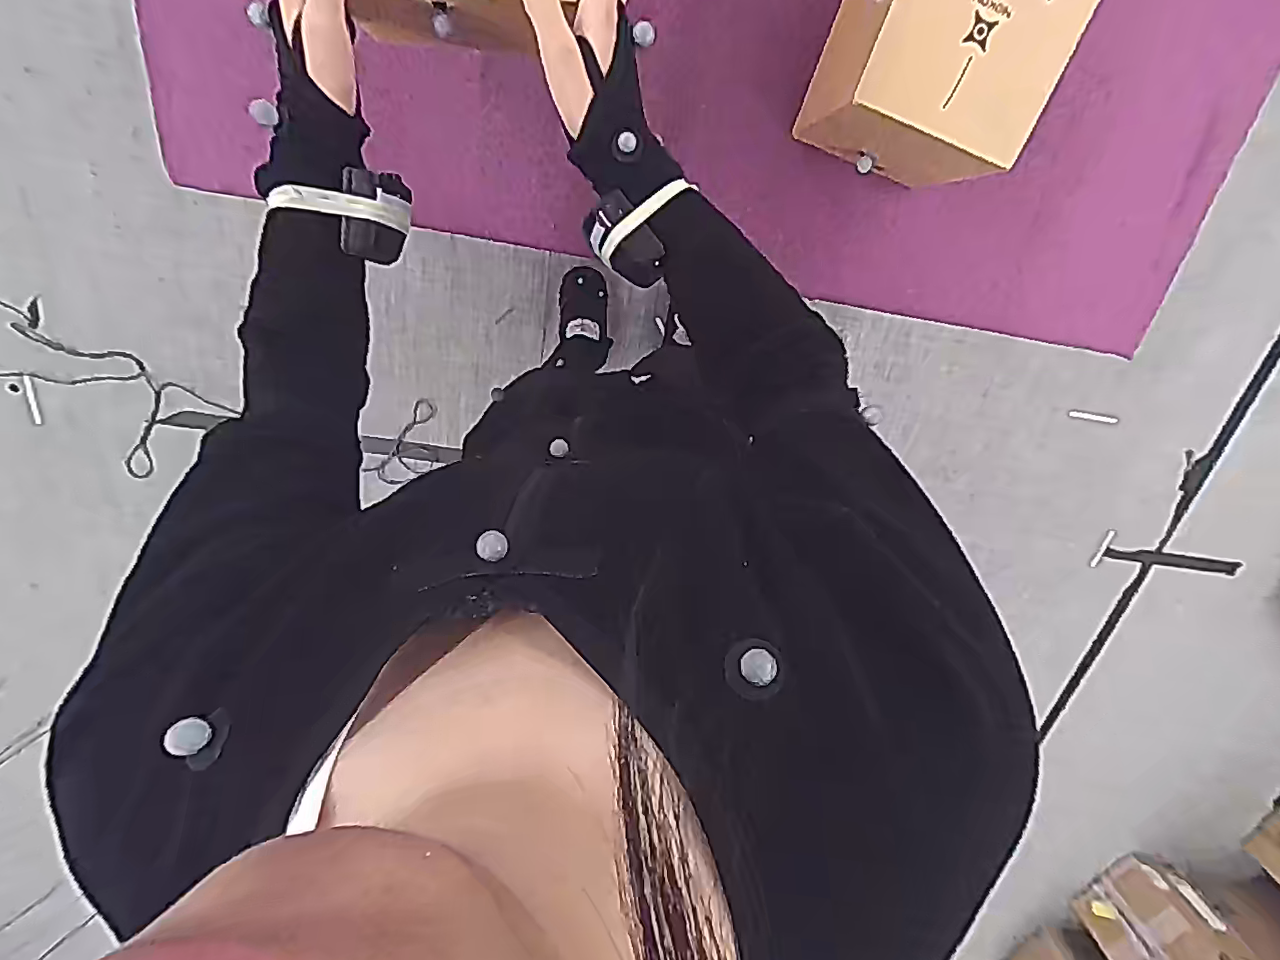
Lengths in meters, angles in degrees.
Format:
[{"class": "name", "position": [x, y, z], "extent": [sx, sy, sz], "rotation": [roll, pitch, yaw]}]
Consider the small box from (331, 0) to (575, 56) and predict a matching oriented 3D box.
[{"class": "small box", "position": [-0.136, -0.429, 0.389], "extent": [0.179, 0.176, 0.168], "rotation": [0, 117, -8]}]

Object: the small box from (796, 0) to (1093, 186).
[{"class": "small box", "position": [0.276, -0.410, 0.522], "extent": [0.168, 0.176, 0.179], "rotation": [16, 112, -10]}]
